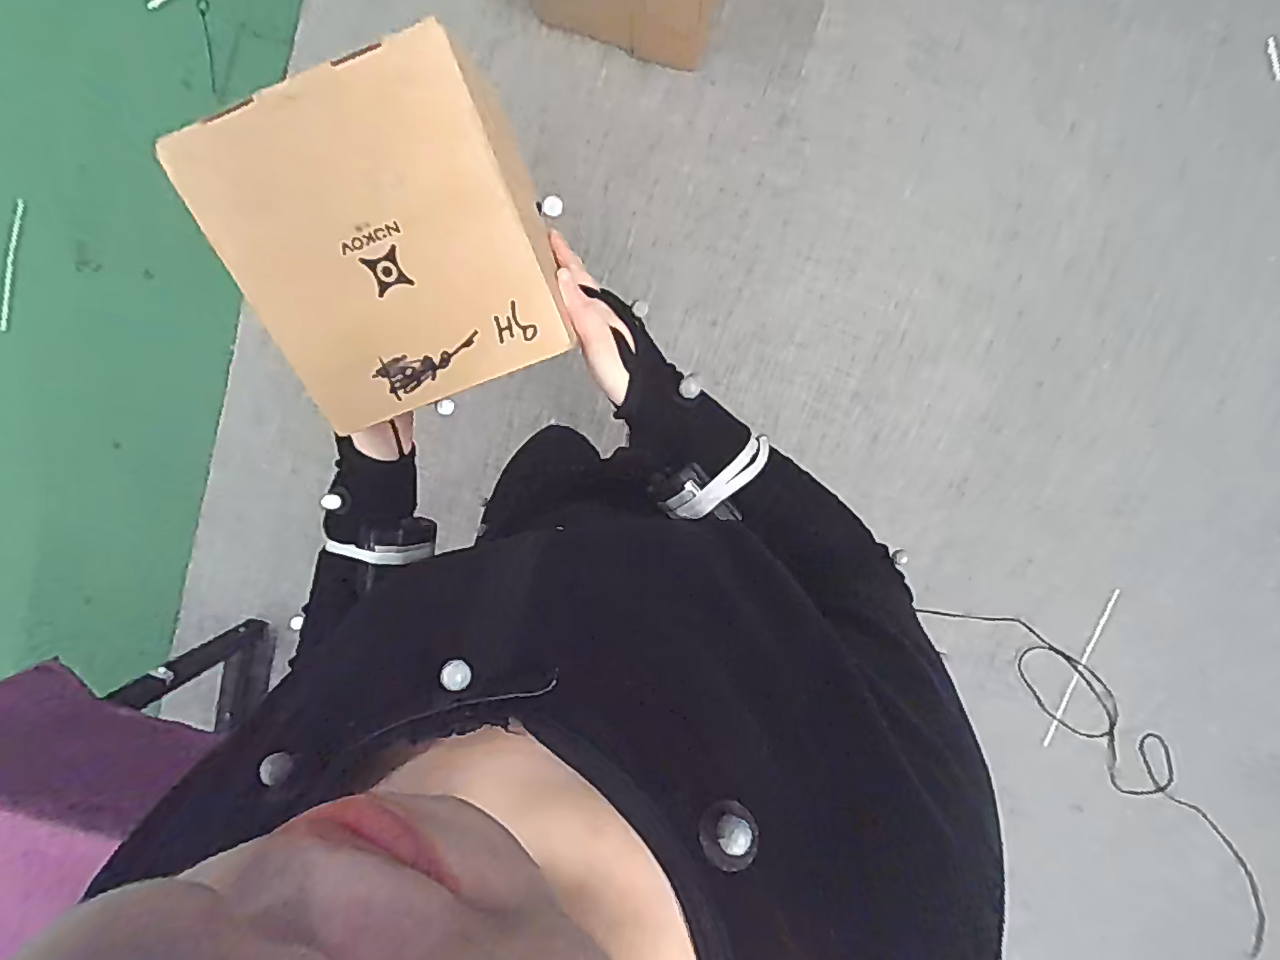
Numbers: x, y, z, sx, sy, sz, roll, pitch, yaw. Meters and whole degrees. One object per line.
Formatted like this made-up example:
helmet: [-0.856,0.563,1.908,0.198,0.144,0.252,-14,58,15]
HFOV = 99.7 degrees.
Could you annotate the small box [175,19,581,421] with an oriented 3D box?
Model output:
small box: [-0.149,-0.166,0.385,0.168,0.176,0.179,-18,113,5]

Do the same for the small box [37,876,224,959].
small box: [-0.791,0.759,0.829,0.179,0.176,0.168,17,99,1]
